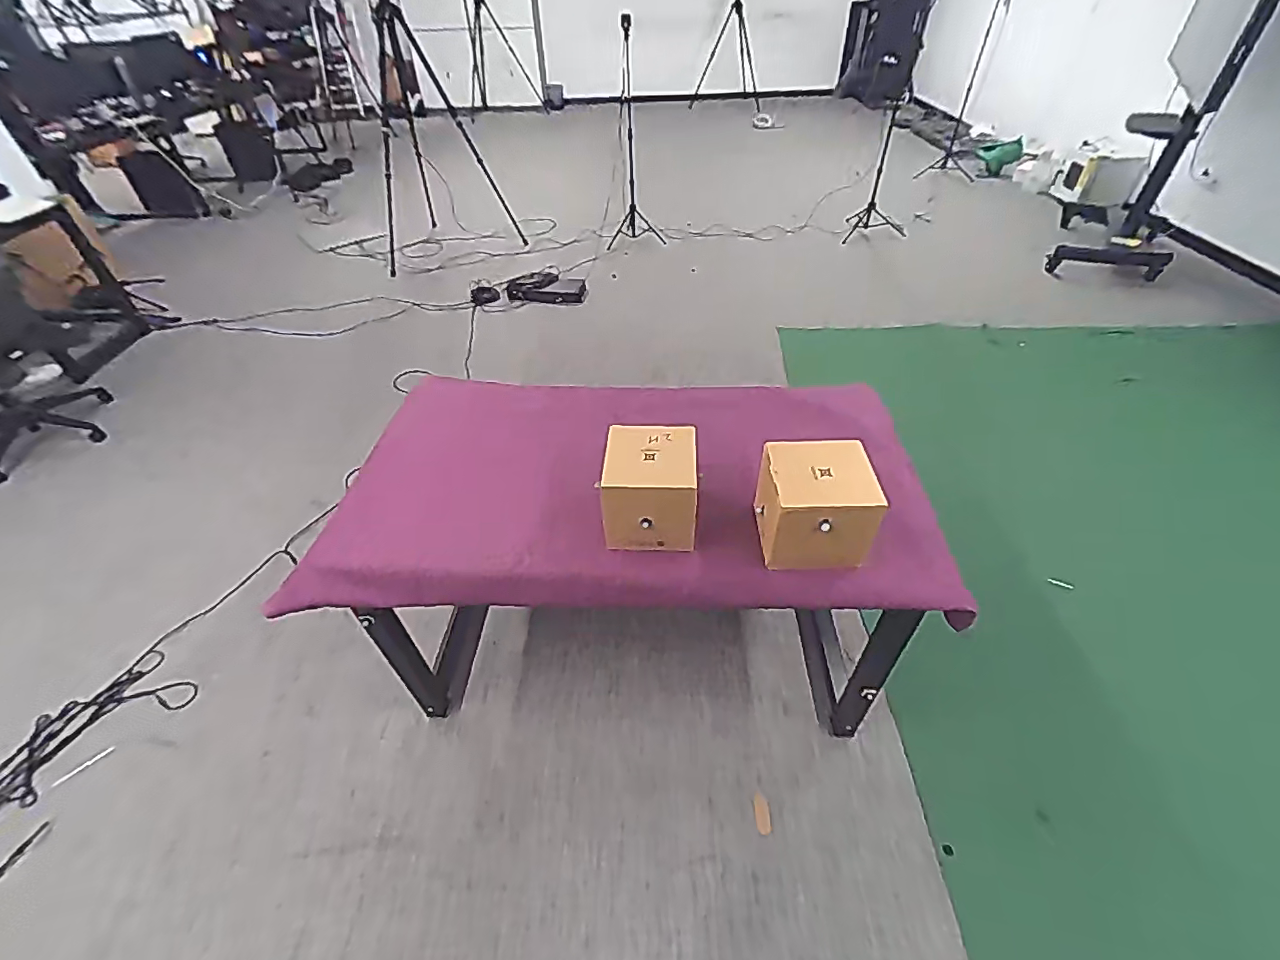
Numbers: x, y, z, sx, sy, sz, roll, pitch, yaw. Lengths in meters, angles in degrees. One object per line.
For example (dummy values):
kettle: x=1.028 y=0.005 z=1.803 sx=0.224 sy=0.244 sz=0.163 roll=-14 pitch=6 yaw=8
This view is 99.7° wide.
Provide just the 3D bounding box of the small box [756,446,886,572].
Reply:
small box: x=0.318 y=0.056 z=0.989 sx=0.179 sy=0.176 sz=0.168 roll=-2 pitch=44 yaw=3

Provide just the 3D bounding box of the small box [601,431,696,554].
small box: x=0.023 y=0.025 z=1.034 sx=0.168 sy=0.176 sz=0.179 roll=1 pitch=42 yaw=4
